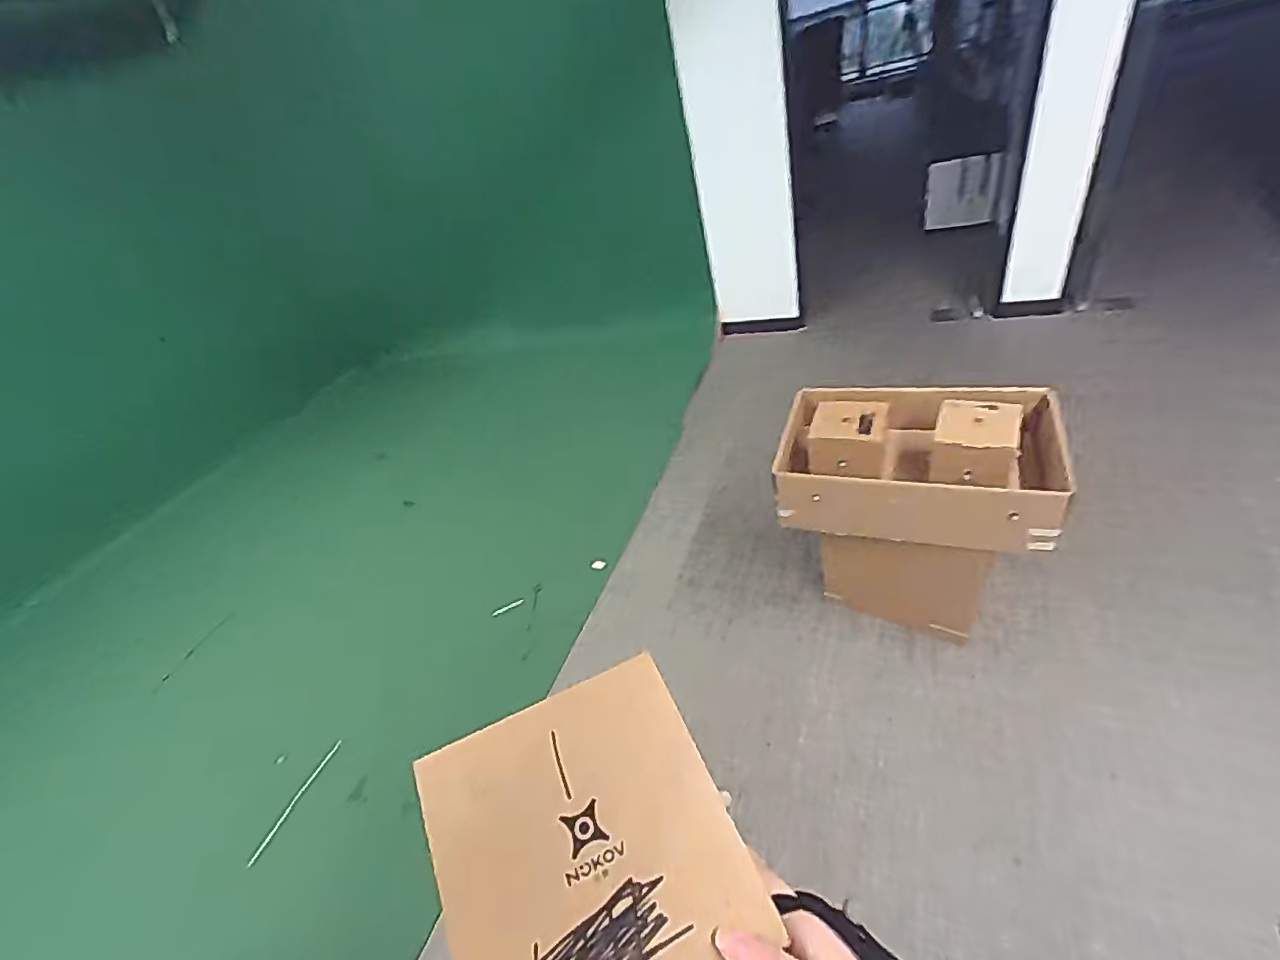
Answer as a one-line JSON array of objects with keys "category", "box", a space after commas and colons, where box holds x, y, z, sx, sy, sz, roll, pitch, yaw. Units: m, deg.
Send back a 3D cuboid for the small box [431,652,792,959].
[{"category": "small box", "box": [-0.024, 0.257, 0.382, 0.168, 0.176, 0.179, -20, 56, -16]}]
